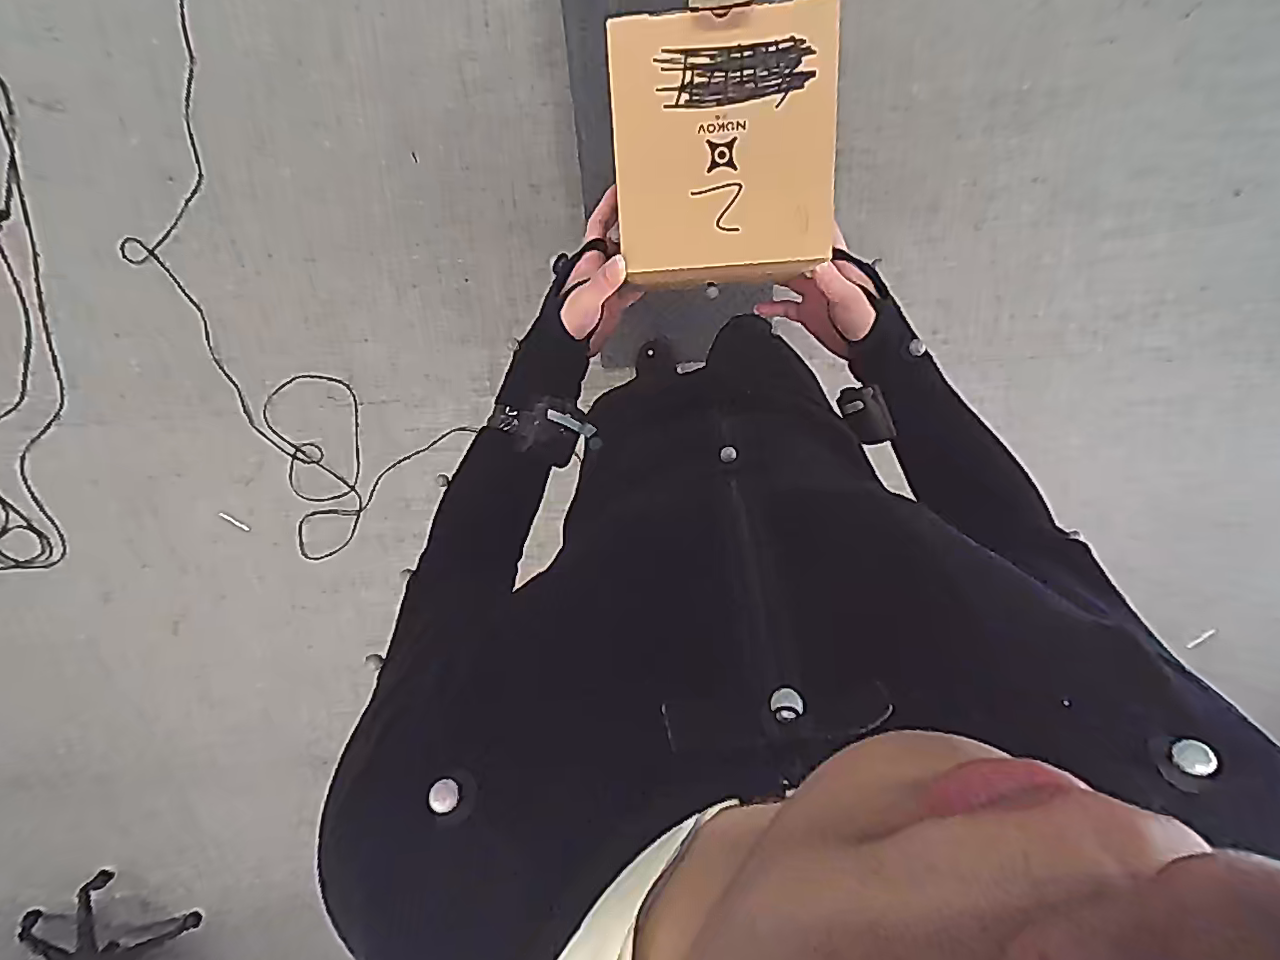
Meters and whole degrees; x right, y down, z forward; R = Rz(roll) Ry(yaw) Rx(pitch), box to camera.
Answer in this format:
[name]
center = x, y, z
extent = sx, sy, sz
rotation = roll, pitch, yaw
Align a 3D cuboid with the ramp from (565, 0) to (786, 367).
[ramp]
center = 0.105, -0.790, 1.322
extent = 0.509, 0.206, 0.991
rotation = -7, 106, 1
